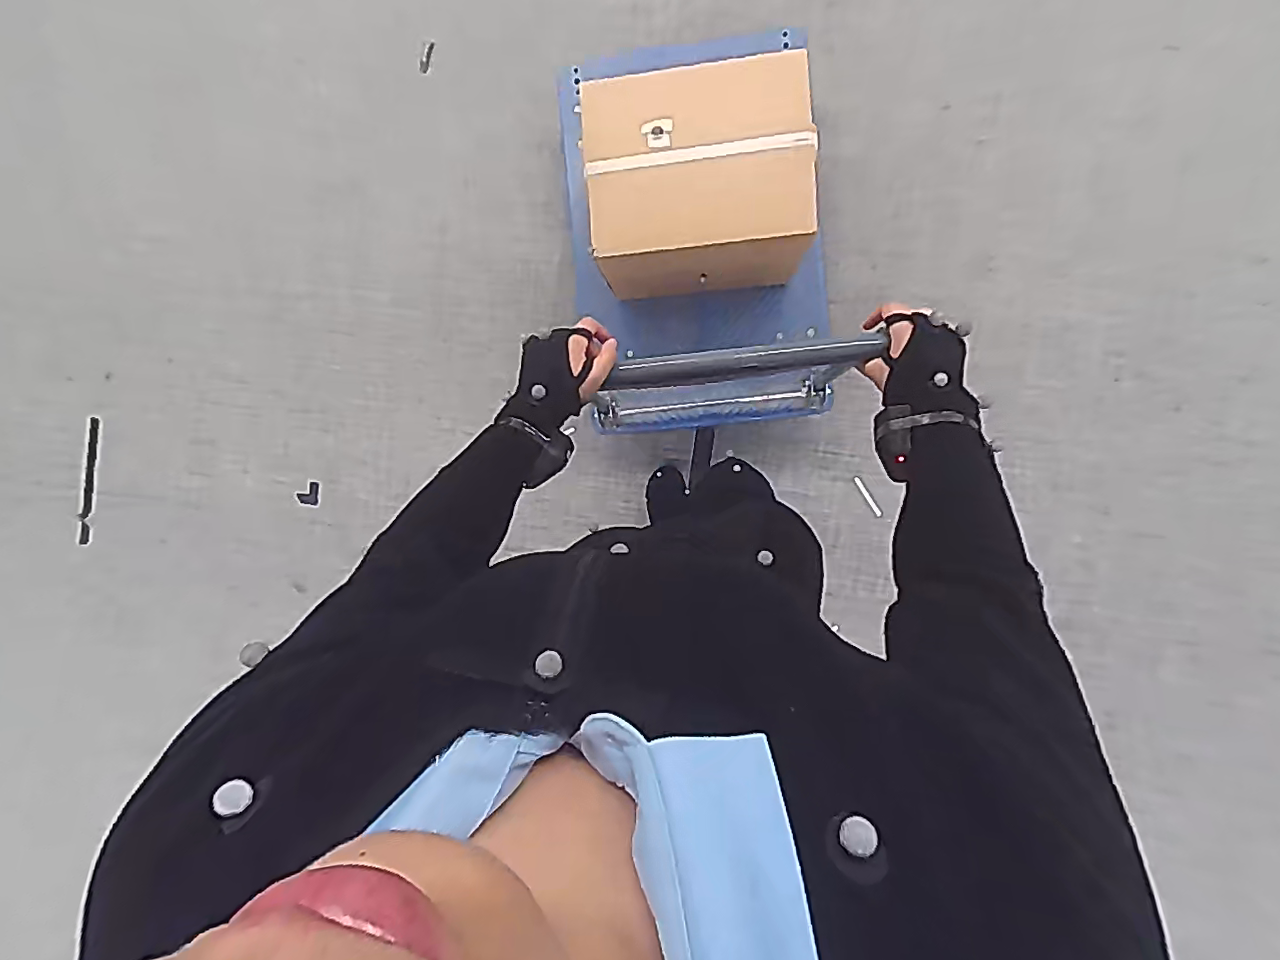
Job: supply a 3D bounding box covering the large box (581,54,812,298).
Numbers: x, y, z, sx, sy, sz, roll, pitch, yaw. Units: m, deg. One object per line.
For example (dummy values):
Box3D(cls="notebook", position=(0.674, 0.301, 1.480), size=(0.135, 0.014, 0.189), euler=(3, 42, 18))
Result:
Box3D(cls="large box", position=(0.118, -0.594, 1.131), size=(0.408, 0.320, 0.320), euler=(-4, 92, 7))
